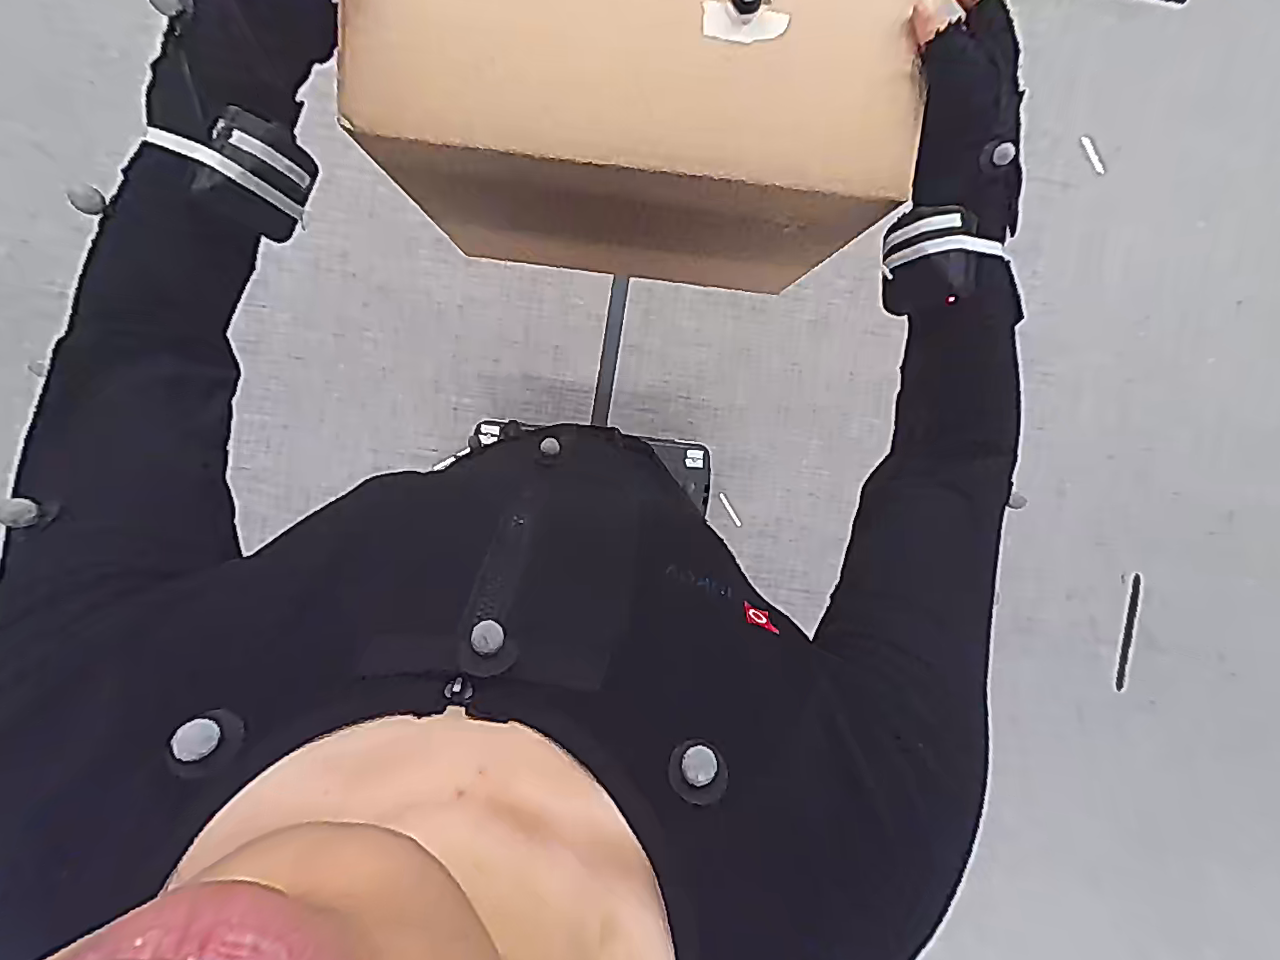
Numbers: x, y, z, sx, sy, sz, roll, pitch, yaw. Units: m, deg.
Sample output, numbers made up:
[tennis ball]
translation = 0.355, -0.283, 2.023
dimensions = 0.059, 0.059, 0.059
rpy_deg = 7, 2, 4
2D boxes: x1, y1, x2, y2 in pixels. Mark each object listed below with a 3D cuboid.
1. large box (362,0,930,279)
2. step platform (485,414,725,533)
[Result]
[large box]
translation = 0.004, -0.402, 0.520
dimensions = 0.408, 0.320, 0.320
rpy_deg = 5, 98, -4
[step platform]
translation = -0.098, -0.020, 1.575
dimensions = 0.684, 0.204, 0.286
rpy_deg = 5, 94, -4
